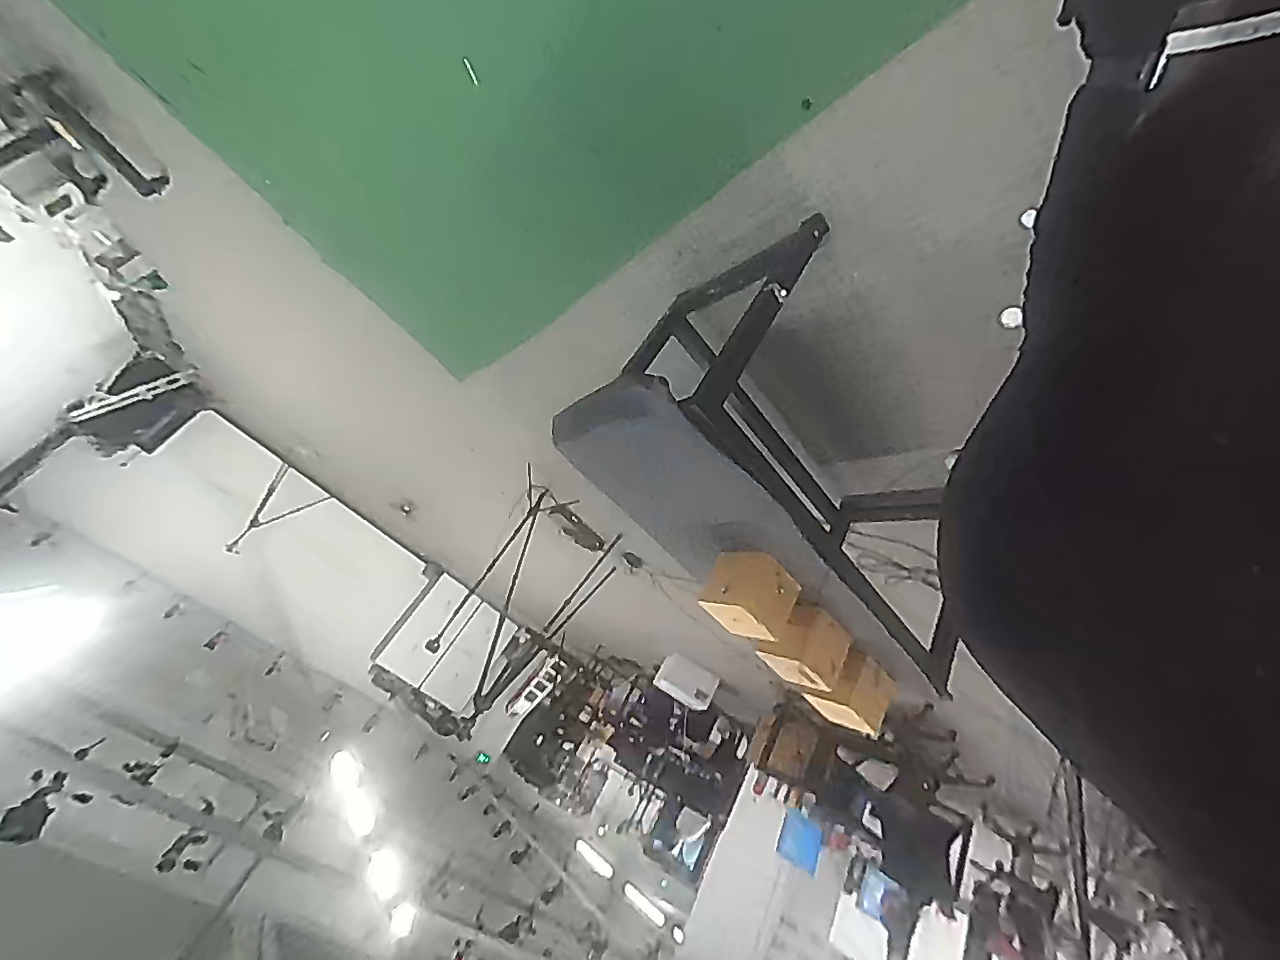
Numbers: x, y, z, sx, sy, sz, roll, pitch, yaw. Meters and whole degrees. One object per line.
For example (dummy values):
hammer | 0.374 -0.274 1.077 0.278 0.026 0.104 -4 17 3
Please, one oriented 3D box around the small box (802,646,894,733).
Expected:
small box | 0.629 0.622 1.627 0.168 0.176 0.179 45 153 -21

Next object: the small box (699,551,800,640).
small box | 0.298 0.305 1.461 0.168 0.176 0.179 44 151 -22
